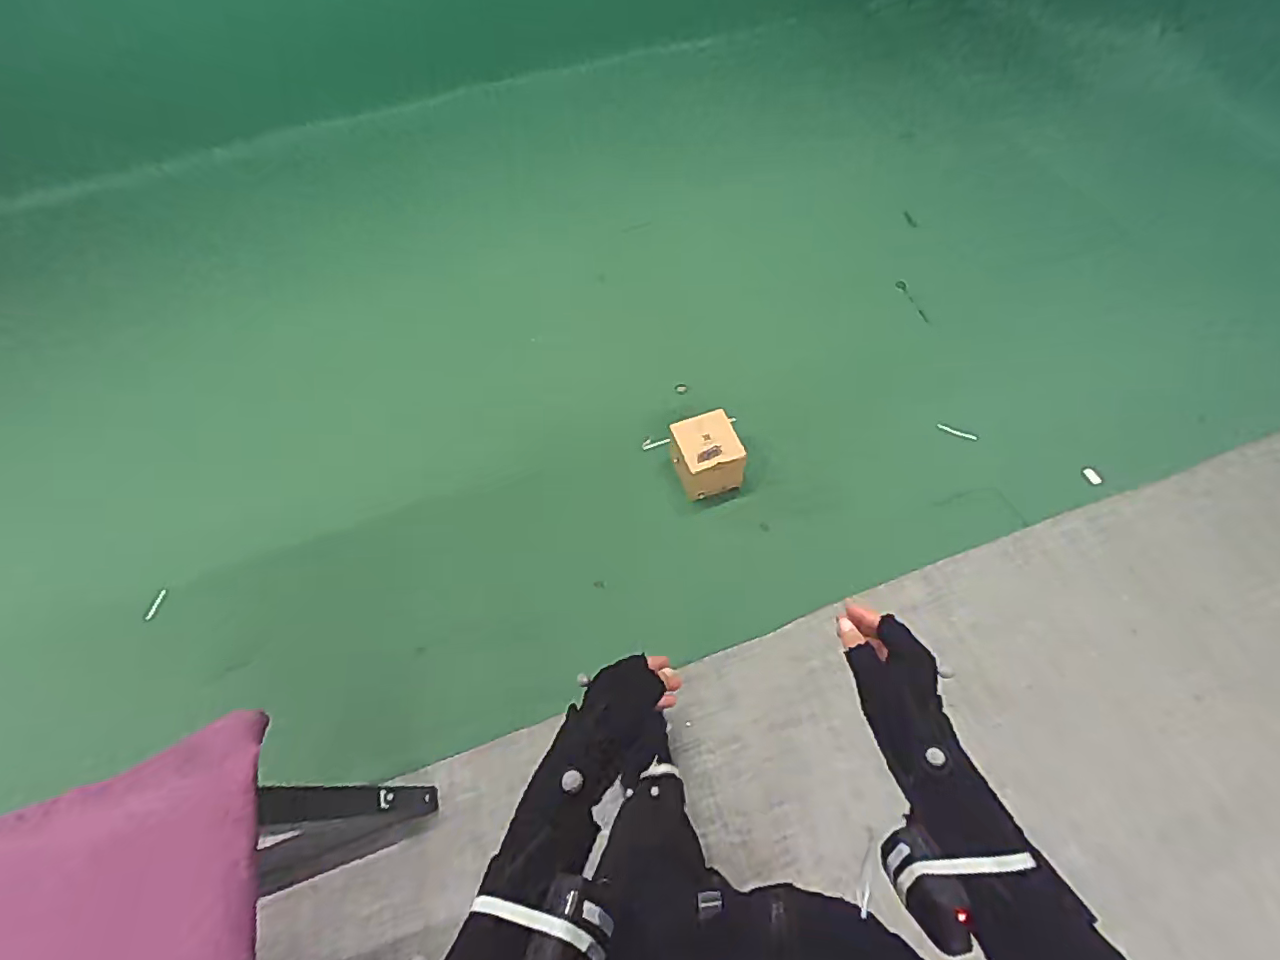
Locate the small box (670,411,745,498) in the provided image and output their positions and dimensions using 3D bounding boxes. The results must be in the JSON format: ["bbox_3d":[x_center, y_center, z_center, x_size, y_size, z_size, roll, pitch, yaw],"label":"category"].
[{"bbox_3d":[0.194,-0.066,1.582,0.168,0.176,0.179,-18,60,-7],"label":"small box"}]
